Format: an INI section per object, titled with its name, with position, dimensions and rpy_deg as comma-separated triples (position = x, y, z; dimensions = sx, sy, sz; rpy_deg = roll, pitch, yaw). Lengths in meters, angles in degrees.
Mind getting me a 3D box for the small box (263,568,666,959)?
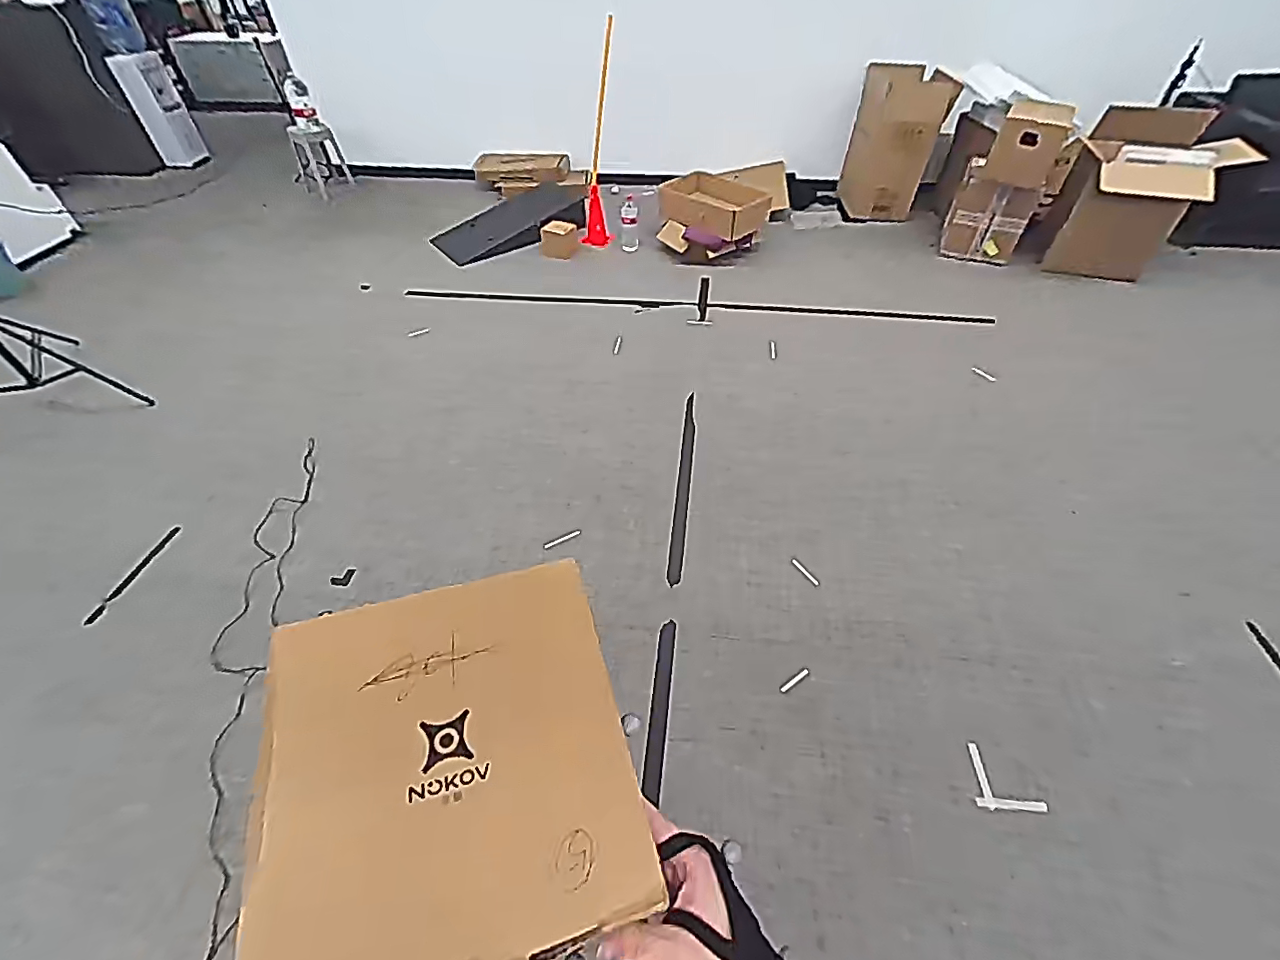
[small box]
position = -0.094, 0.185, 0.327
dimensions = 0.168, 0.176, 0.179
rpy_deg = -12, 51, -15
